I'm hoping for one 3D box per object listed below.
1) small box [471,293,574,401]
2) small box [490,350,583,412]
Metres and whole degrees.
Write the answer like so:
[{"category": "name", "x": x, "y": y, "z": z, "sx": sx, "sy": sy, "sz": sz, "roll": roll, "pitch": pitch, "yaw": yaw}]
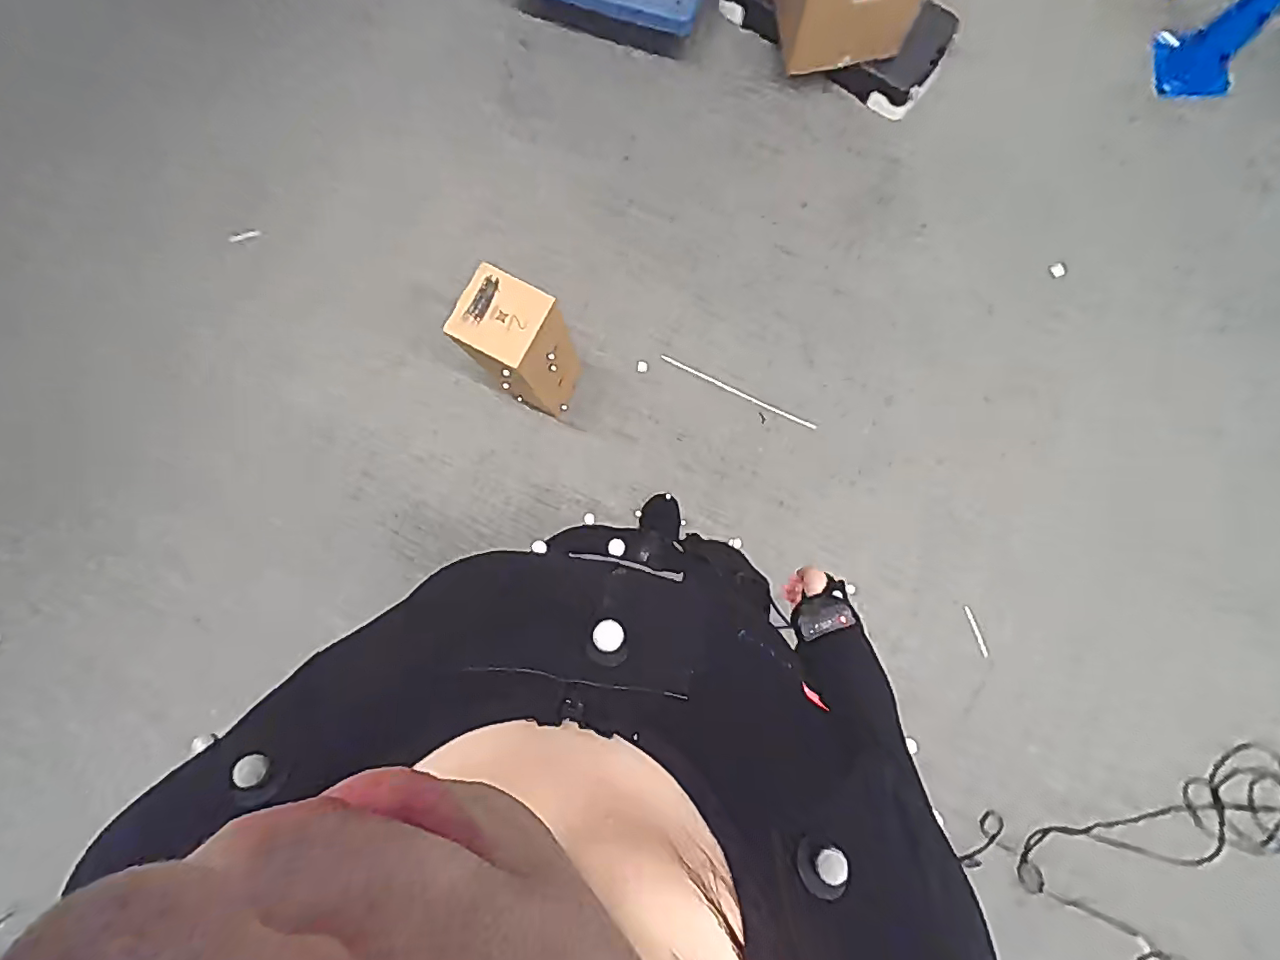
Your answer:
[{"category": "small box", "x": -0.275, "y": -0.312, "z": 1.315, "sx": 0.168, "sy": 0.176, "sz": 0.179, "roll": 28, "pitch": 87, "yaw": 4}, {"category": "small box", "x": -0.275, "y": -0.300, "z": 1.479, "sx": 0.179, "sy": 0.176, "sz": 0.168, "roll": 28, "pitch": 87, "yaw": 5}]
